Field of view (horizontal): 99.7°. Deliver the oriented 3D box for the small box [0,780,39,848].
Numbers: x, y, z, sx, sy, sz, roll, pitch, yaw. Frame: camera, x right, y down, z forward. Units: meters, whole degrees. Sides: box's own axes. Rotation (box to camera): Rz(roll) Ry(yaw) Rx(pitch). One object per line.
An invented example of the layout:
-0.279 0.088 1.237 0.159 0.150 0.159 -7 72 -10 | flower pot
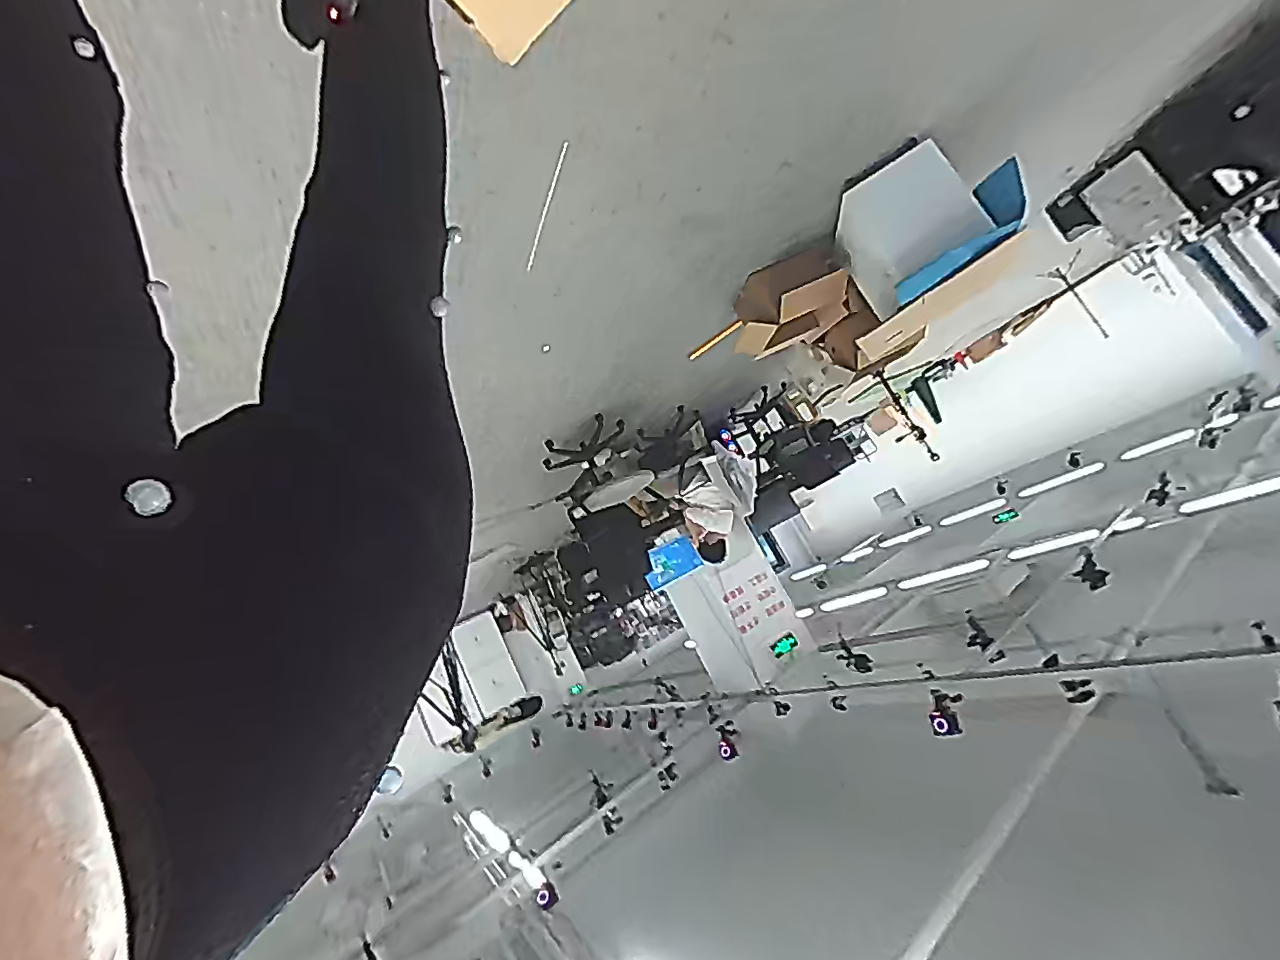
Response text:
-1.931 1.006 1.585 0.168 0.176 0.179 -21 166 -33 | small box
